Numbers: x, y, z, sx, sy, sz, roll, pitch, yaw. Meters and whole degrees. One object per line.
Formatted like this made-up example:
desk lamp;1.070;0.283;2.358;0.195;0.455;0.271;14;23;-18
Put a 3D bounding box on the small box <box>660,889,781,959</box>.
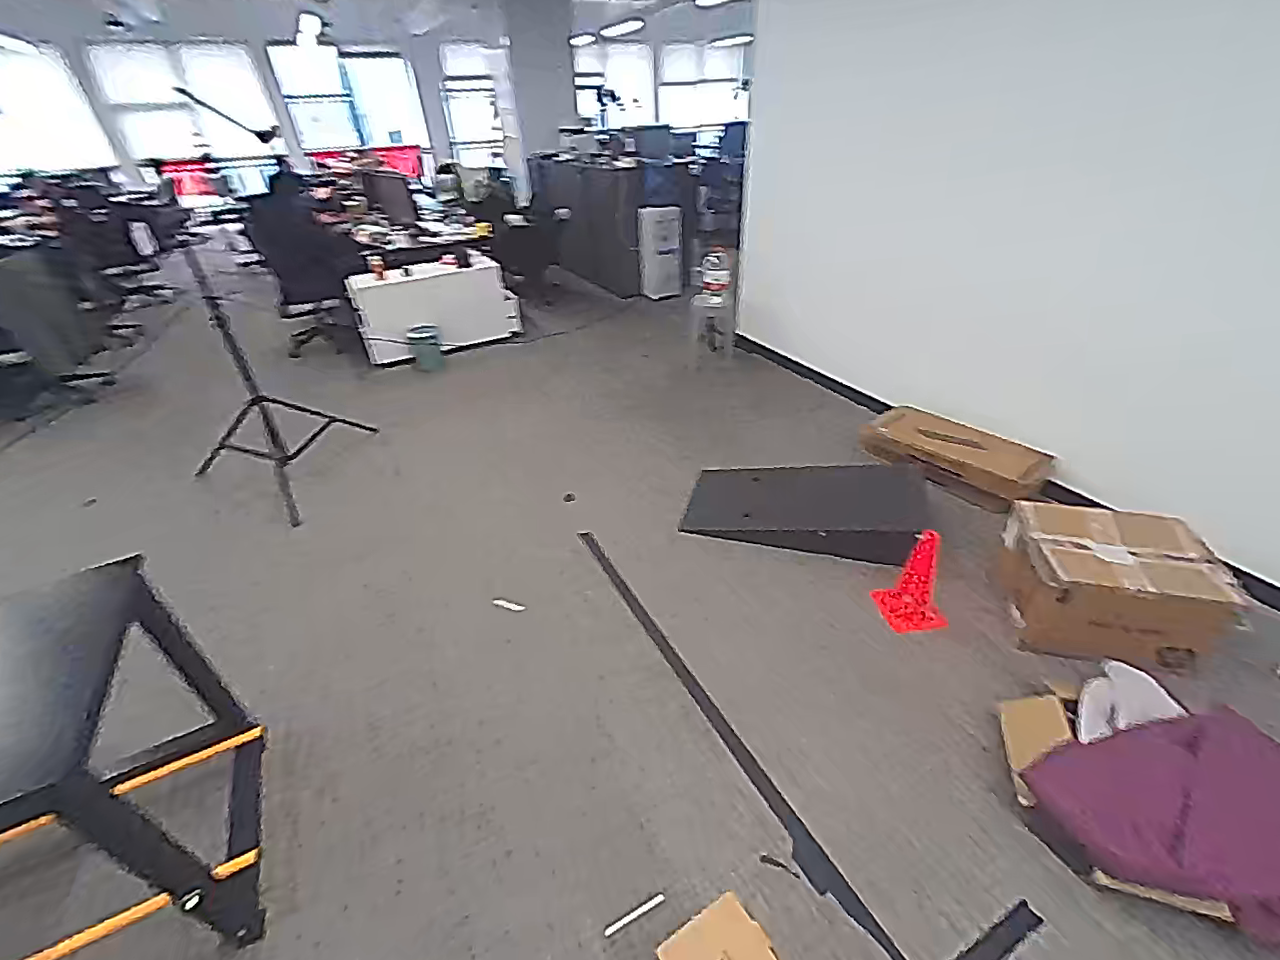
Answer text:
small box;0.152;0.898;0.969;0.179;0.176;0.168;-23;37;-23
